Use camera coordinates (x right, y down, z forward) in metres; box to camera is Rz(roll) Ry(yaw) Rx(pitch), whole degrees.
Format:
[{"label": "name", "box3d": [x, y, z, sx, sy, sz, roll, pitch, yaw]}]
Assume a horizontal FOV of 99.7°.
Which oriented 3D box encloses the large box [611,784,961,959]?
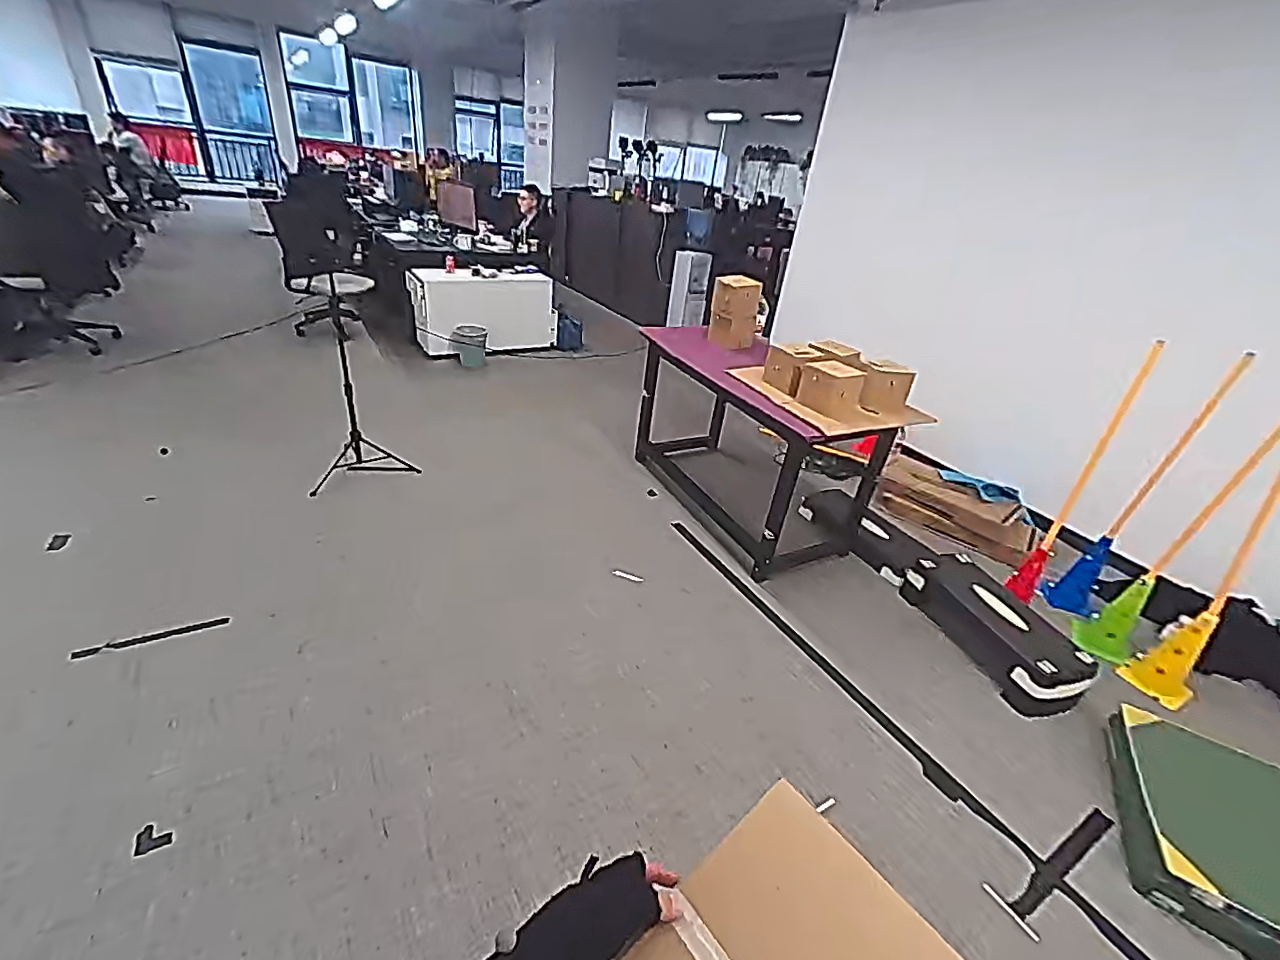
[{"label": "large box", "box3d": [0.146, 0.575, 0.450, 0.320, 0.320, 0.408, -26, 48, -32]}]
